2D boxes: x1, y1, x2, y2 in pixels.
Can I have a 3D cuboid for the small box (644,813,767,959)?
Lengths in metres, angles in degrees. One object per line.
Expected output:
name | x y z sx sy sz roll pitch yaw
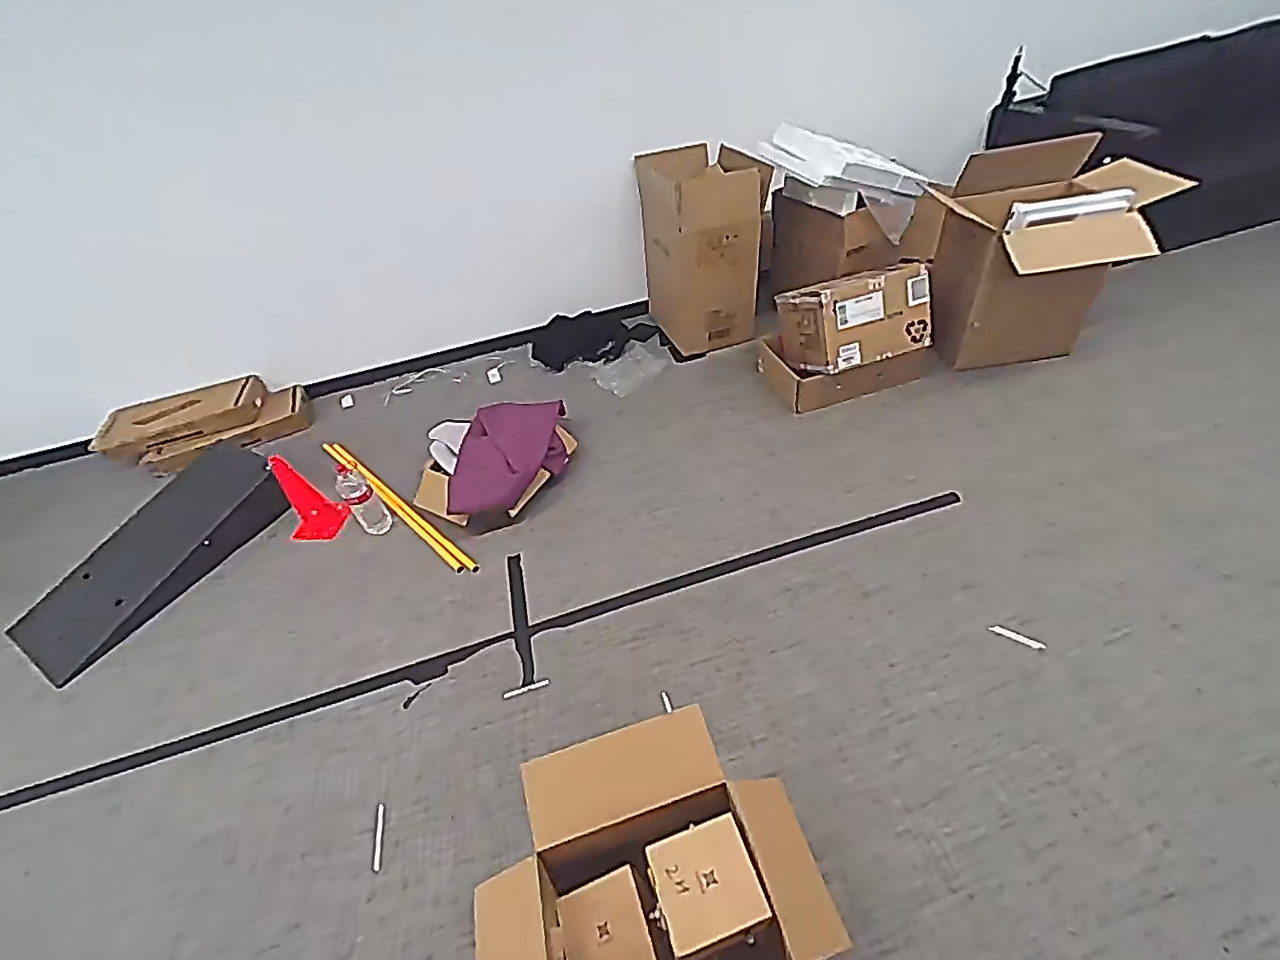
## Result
small box | 0.118 0.762 1.010 0.179 0.176 0.168 -17 44 -9
